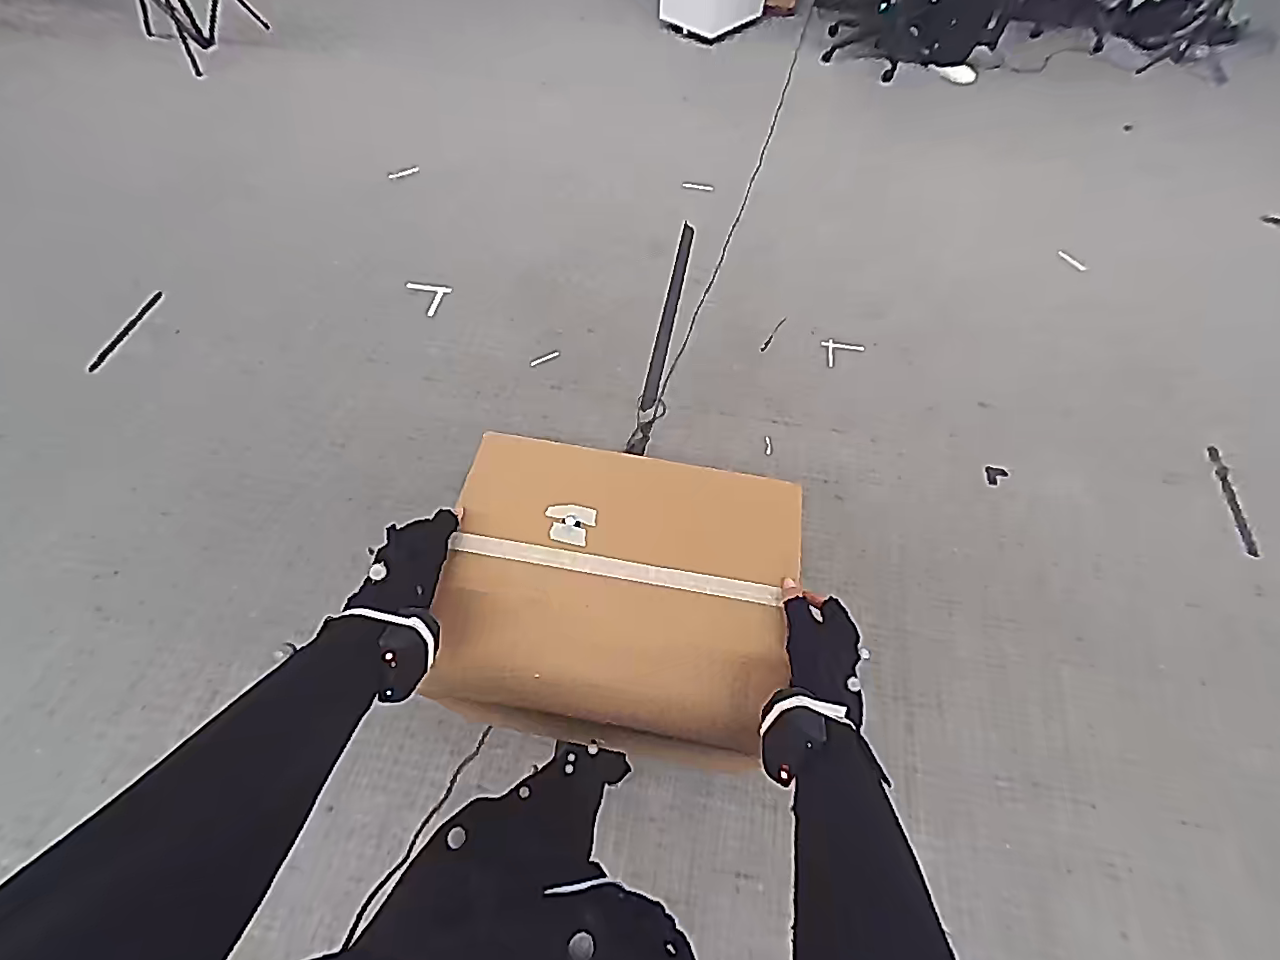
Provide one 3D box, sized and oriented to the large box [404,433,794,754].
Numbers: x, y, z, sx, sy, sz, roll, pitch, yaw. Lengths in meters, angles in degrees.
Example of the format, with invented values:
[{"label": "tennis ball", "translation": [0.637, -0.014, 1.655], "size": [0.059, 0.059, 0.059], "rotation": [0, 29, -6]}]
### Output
[{"label": "large box", "translation": [-0.027, 0.171, 0.747], "size": [0.408, 0.320, 0.320], "rotation": [10, 59, 4]}]
